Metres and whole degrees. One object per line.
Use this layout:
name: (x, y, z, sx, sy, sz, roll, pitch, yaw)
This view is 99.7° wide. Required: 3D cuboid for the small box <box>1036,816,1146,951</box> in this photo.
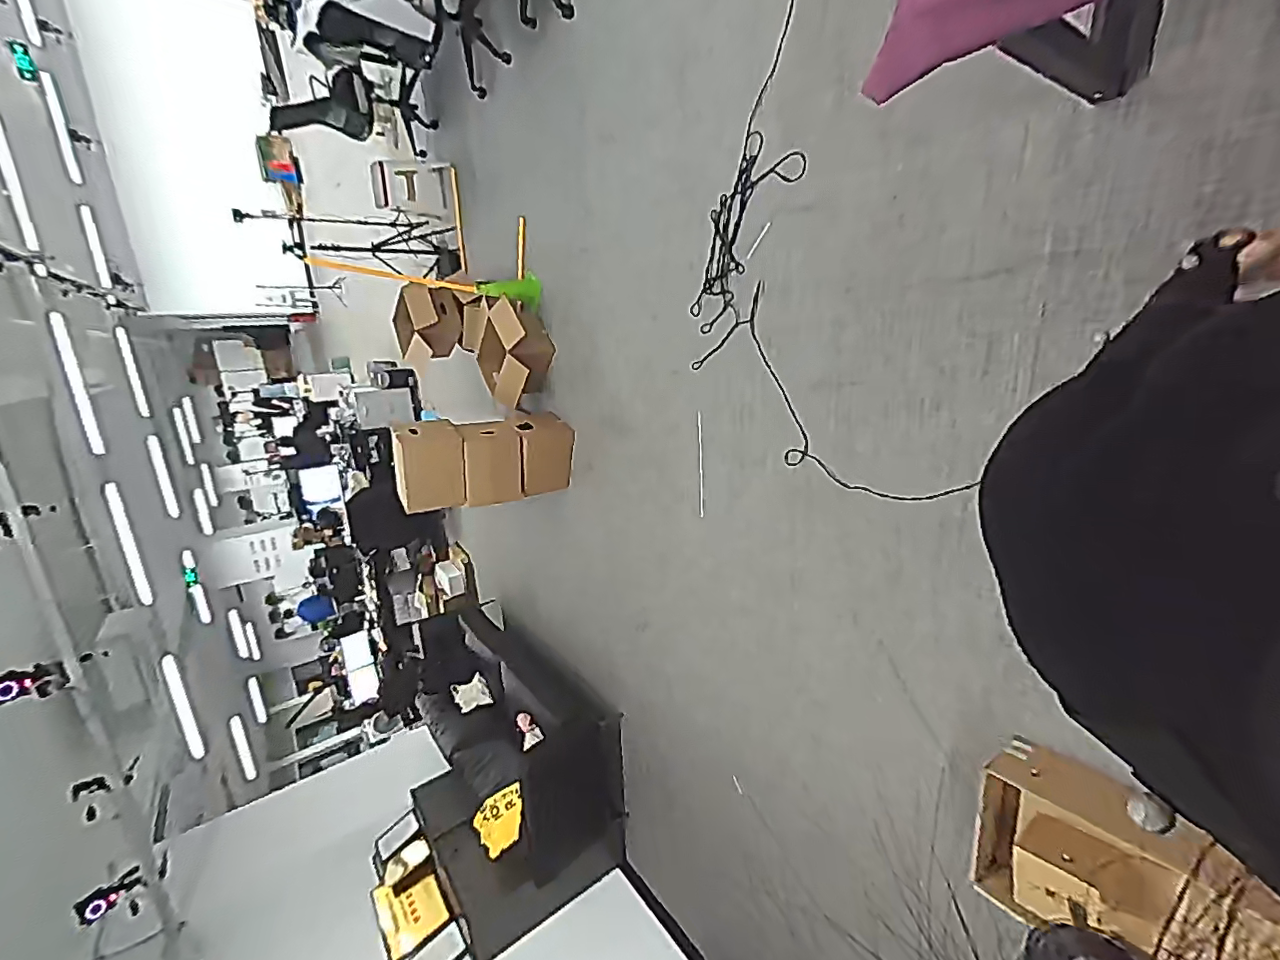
small box: (1.110, 0.975, 1.329, 0.179, 0.176, 0.168, 6, 105, 56)
